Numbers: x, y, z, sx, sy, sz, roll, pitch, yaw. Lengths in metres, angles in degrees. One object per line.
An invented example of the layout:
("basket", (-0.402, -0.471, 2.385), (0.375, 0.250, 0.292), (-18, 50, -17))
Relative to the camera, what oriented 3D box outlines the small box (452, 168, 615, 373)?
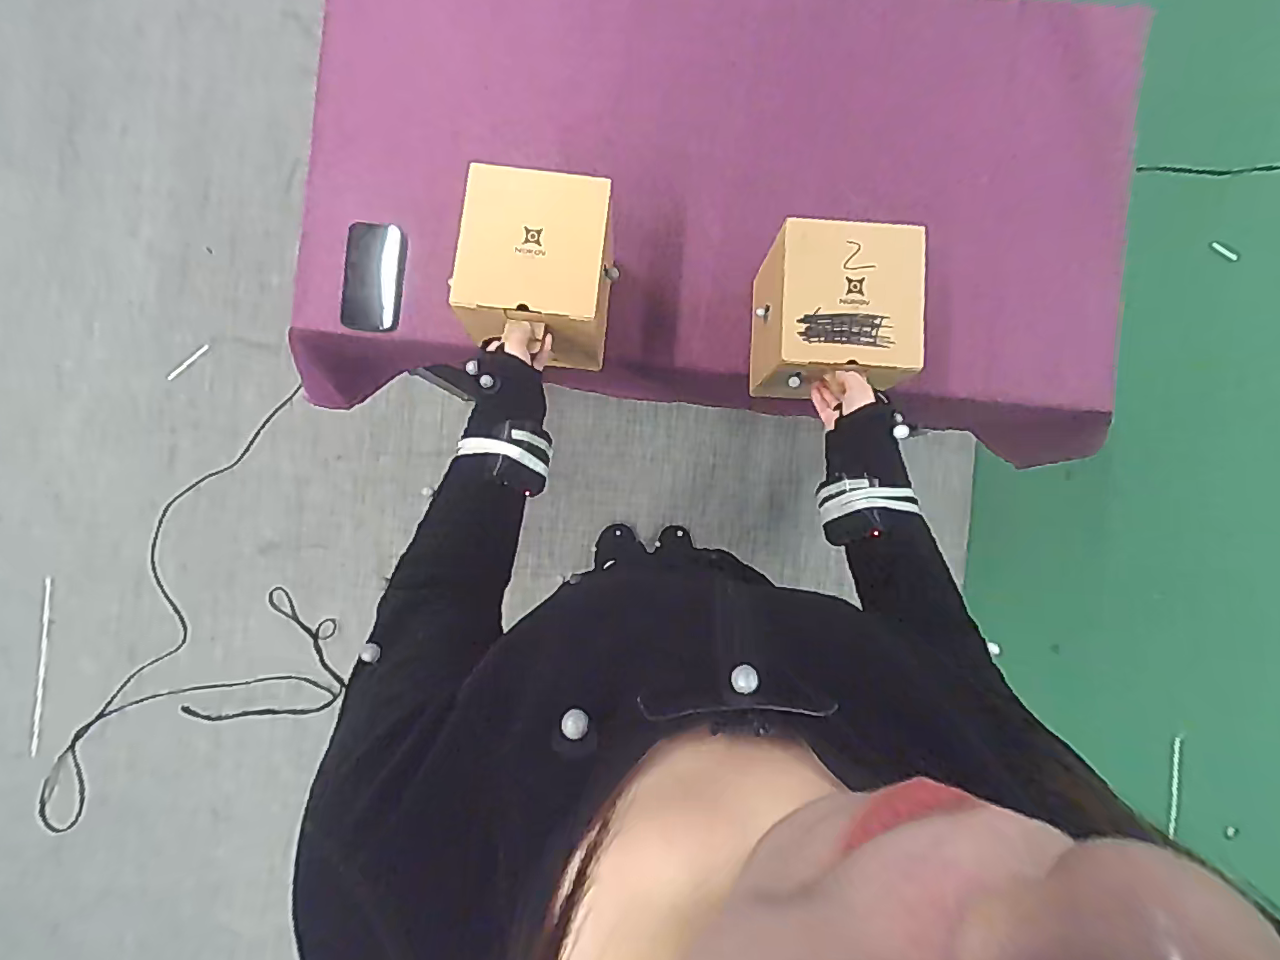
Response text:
("small box", (-0.125, -0.255, 0.694), (0.168, 0.176, 0.179), (6, 82, -2))
